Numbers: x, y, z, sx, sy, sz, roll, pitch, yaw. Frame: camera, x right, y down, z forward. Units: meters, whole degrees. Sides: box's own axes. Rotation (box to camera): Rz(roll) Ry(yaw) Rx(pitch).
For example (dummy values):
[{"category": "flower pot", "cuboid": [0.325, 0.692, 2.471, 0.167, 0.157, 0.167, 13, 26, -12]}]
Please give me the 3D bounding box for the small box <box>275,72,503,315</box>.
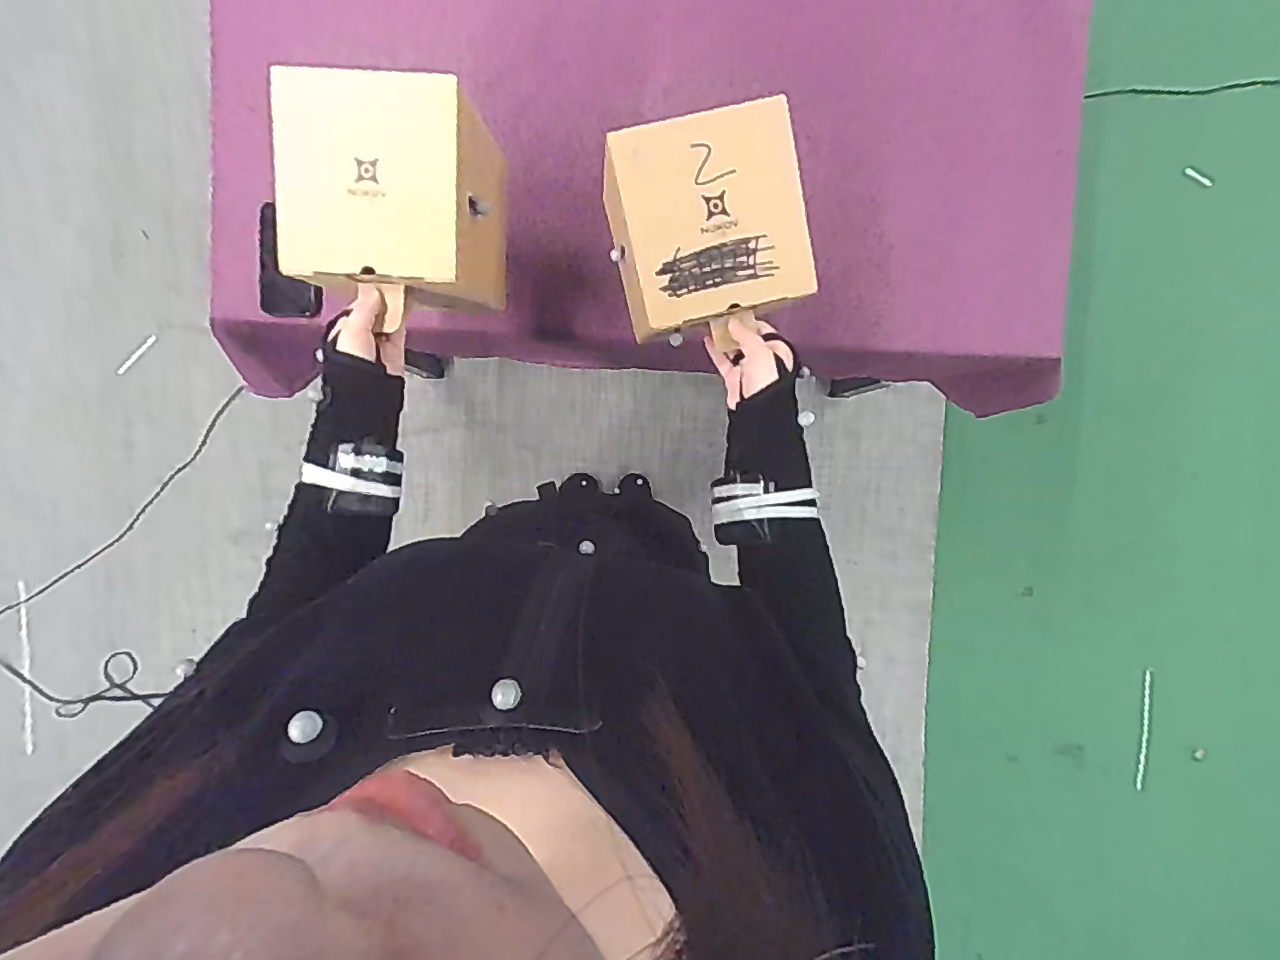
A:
[{"category": "small box", "cuboid": [-0.247, -0.280, 0.569, 0.168, 0.176, 0.179, 4, 99, 0]}]
